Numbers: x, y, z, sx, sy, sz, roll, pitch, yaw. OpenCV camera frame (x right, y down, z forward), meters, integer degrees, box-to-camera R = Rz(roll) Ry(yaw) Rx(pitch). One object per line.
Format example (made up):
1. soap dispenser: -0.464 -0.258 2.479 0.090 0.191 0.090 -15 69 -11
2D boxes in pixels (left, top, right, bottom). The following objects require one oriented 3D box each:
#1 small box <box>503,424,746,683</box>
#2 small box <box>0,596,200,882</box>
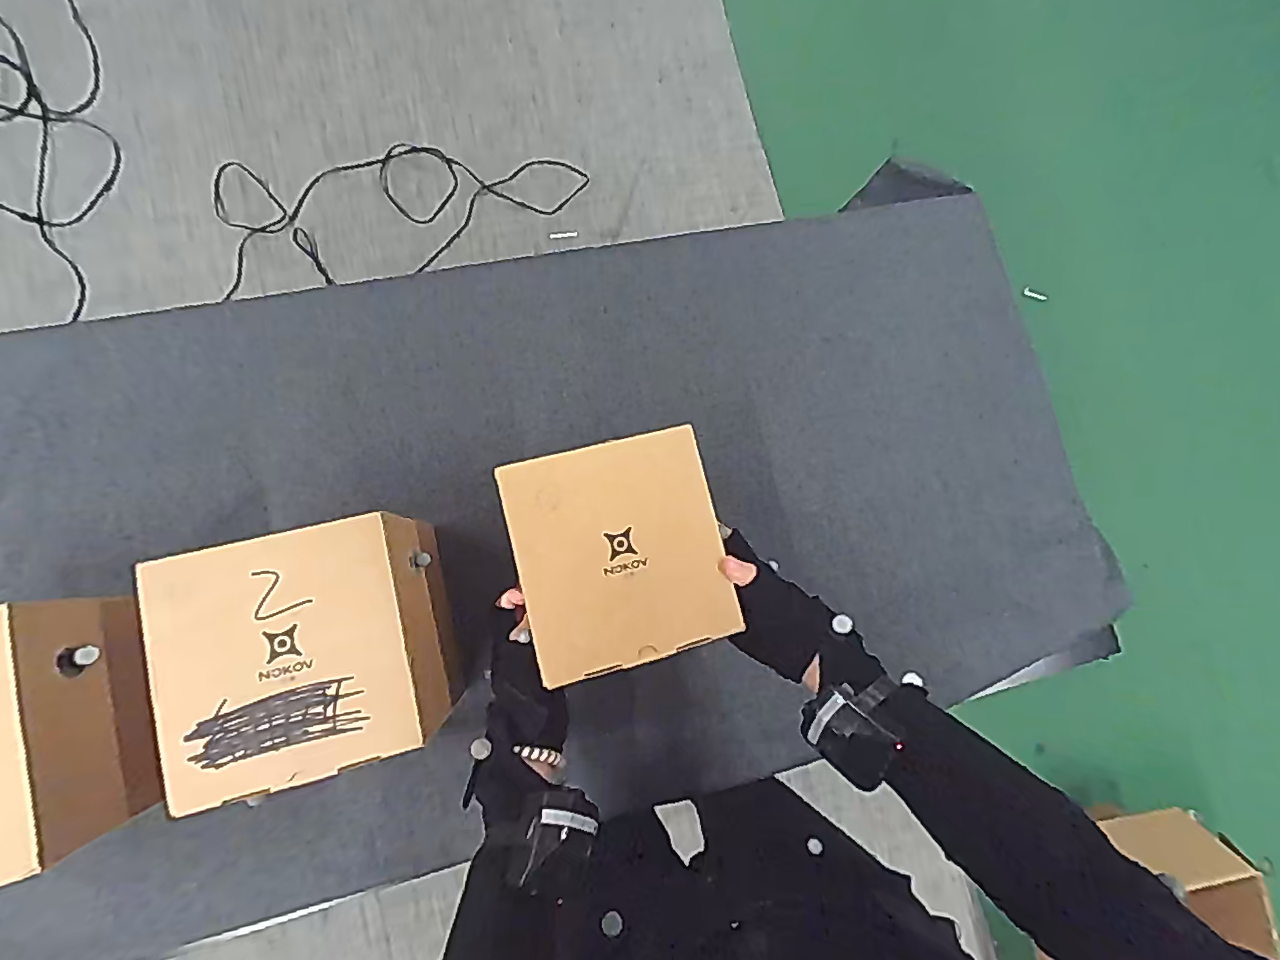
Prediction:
1. small box: -0.025 0.064 0.506 0.168 0.176 0.179 -14 86 -11
2. small box: -0.486 0.193 0.412 0.168 0.176 0.179 -14 84 -11
